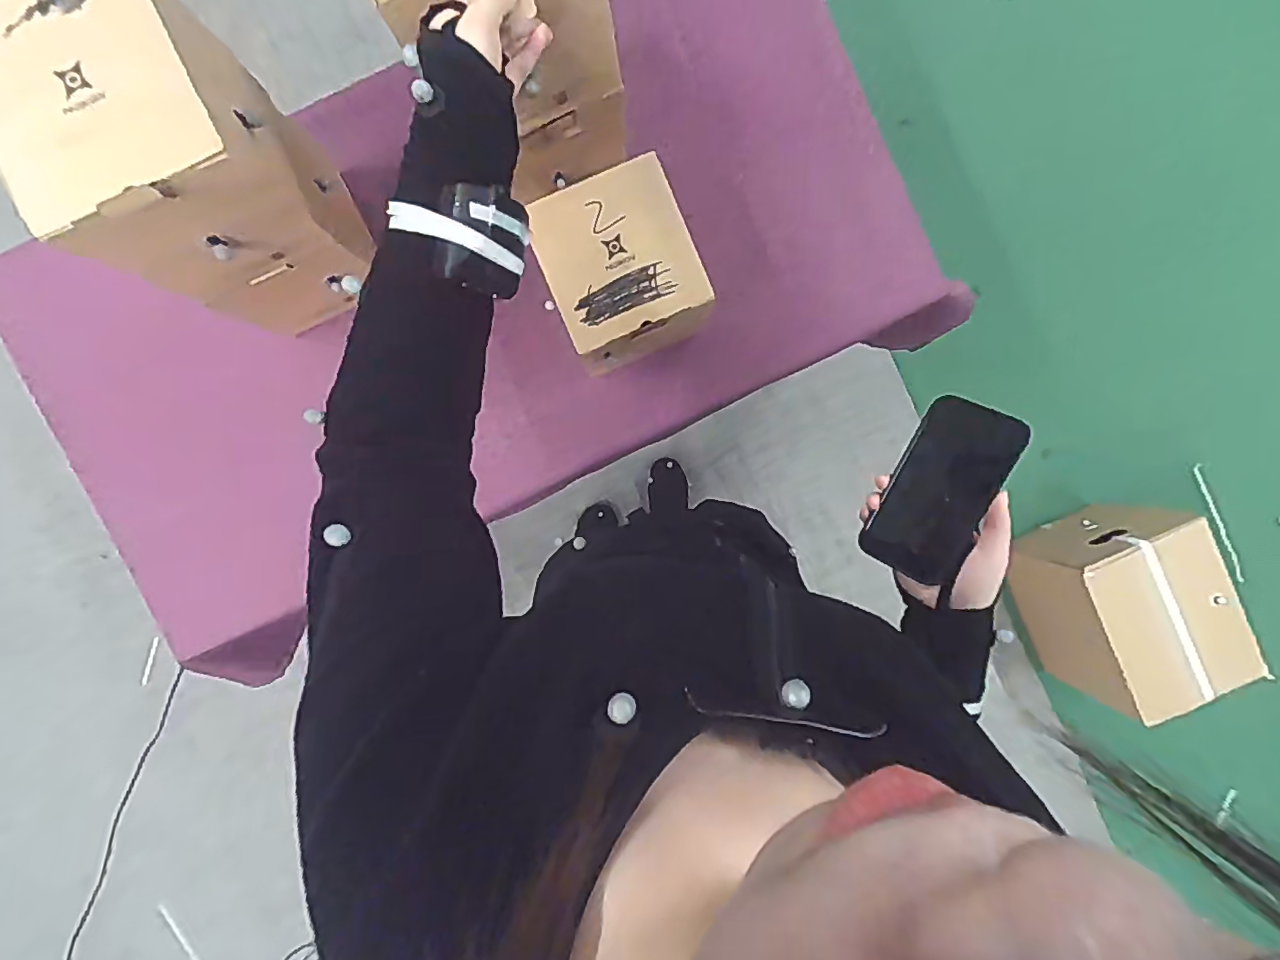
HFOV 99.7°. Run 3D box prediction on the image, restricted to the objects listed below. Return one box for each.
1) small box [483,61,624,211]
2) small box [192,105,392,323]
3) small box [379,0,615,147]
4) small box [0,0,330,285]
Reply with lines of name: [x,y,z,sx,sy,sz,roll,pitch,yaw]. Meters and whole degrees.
small box: [-0.130,-0.471,0.656,0.168,0.176,0.179,-28,94,1]
small box: [-0.440,-0.309,0.661,0.168,0.176,0.179,-25,93,-1]
small box: [-0.134,-0.437,0.457,0.168,0.176,0.179,-24,85,4]
small box: [-0.430,-0.300,0.496,0.168,0.176,0.179,-25,94,-1]
